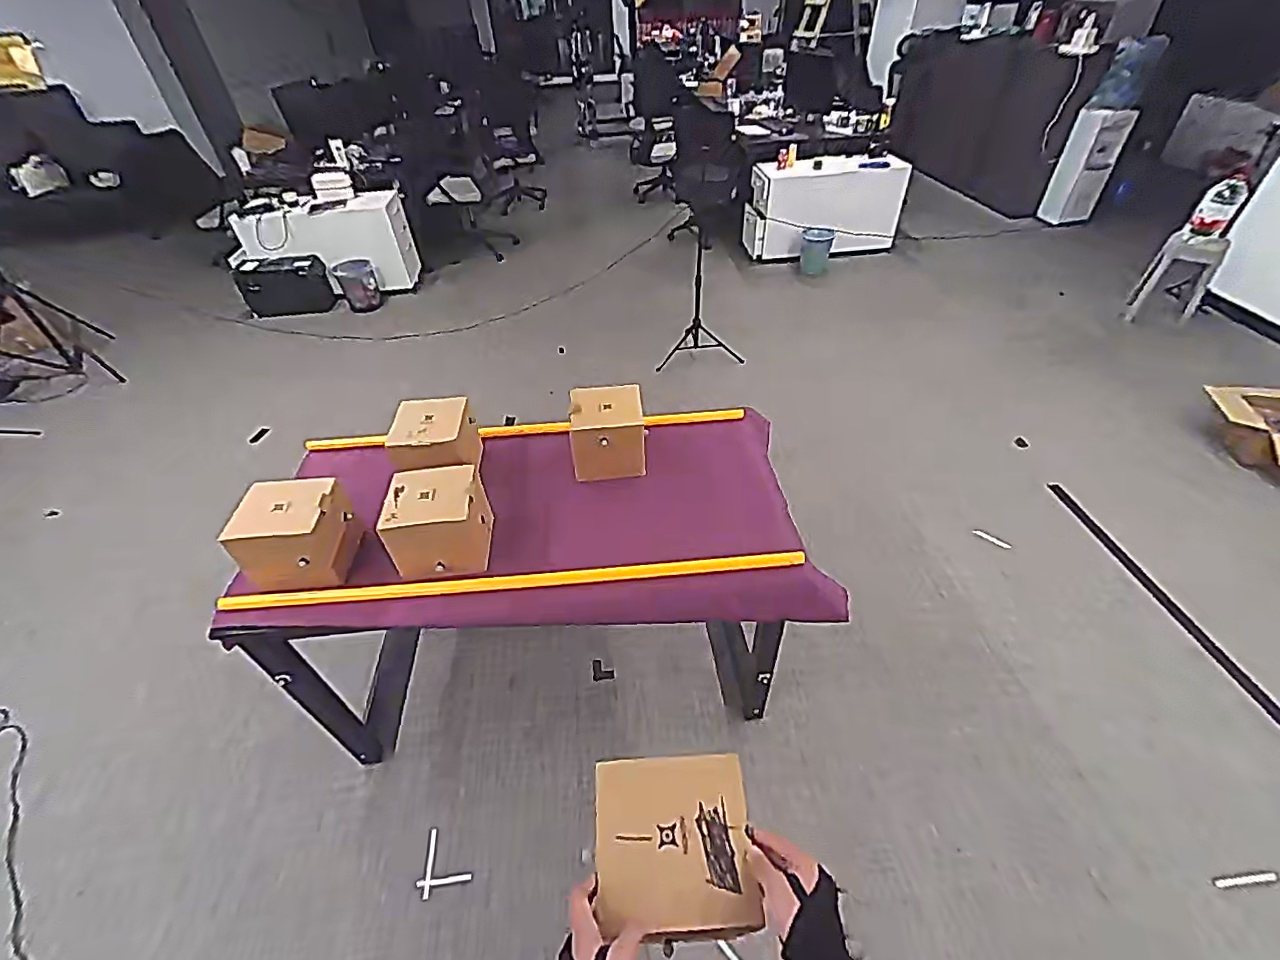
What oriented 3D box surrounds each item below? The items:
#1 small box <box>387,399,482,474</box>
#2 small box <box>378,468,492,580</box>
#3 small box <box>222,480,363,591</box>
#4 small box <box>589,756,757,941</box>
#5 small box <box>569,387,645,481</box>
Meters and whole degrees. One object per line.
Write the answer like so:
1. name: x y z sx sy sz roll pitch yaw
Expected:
1. small box: -0.501 -0.080 1.351 0.168 0.176 0.179 -5 45 -1
2. small box: -0.425 0.096 1.157 0.179 0.176 0.168 -5 43 -3
3. small box: -0.719 0.119 1.148 0.179 0.176 0.168 -4 42 -4
4. small box: 0.028 0.452 0.664 0.179 0.176 0.168 0 46 -4
5. small box: -0.080 -0.115 1.364 0.179 0.176 0.168 -5 44 -1
